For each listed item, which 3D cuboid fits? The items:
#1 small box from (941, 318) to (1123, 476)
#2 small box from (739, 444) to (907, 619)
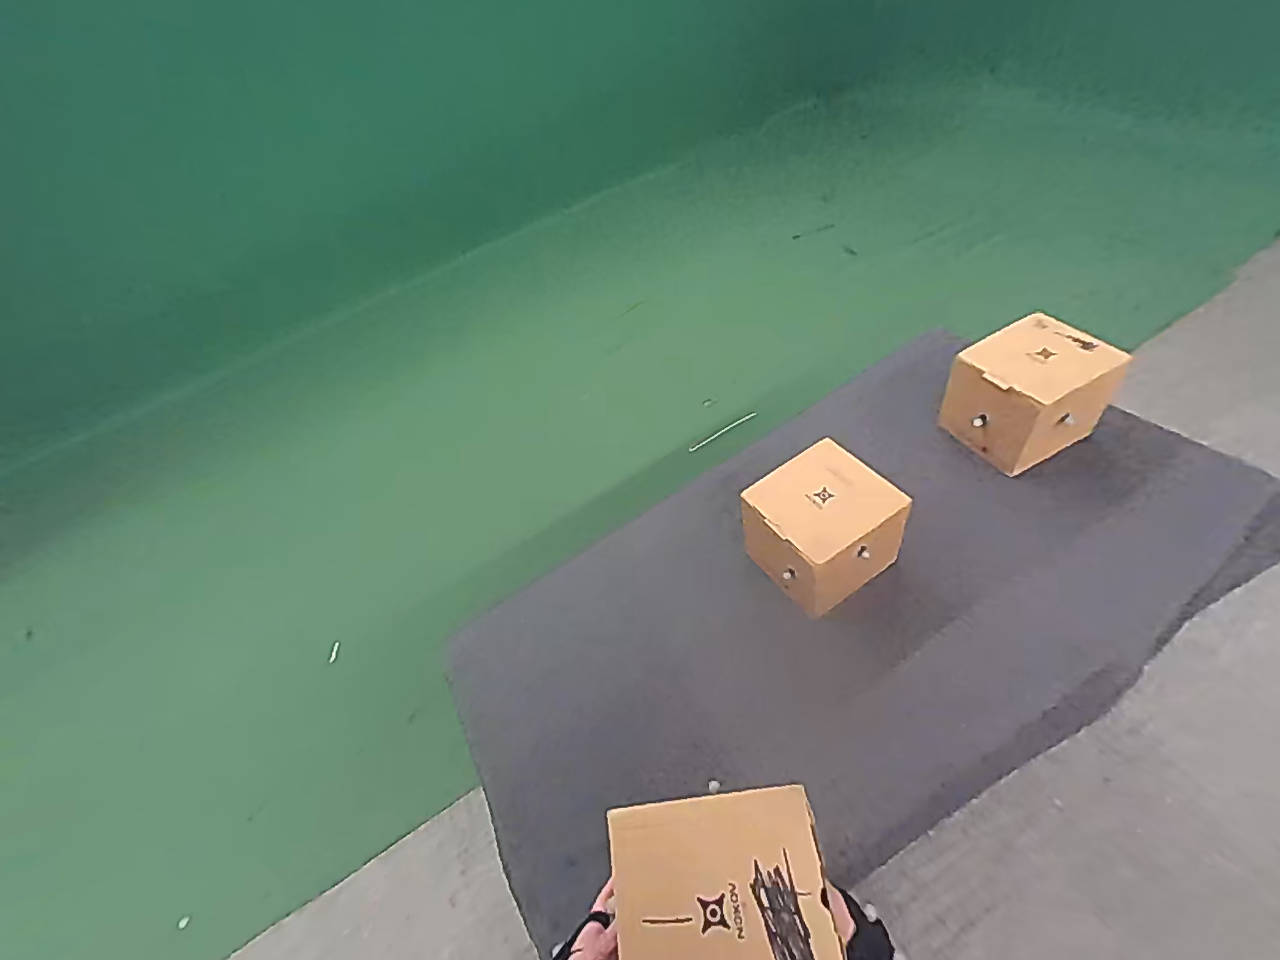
[{"bbox_3d":[0.646,-0.138,0.922,0.179,0.176,0.168,-28,49,-7],"label":"small box"},{"bbox_3d":[0.278,0.084,0.843,0.179,0.176,0.168,-31,50,-13],"label":"small box"}]
